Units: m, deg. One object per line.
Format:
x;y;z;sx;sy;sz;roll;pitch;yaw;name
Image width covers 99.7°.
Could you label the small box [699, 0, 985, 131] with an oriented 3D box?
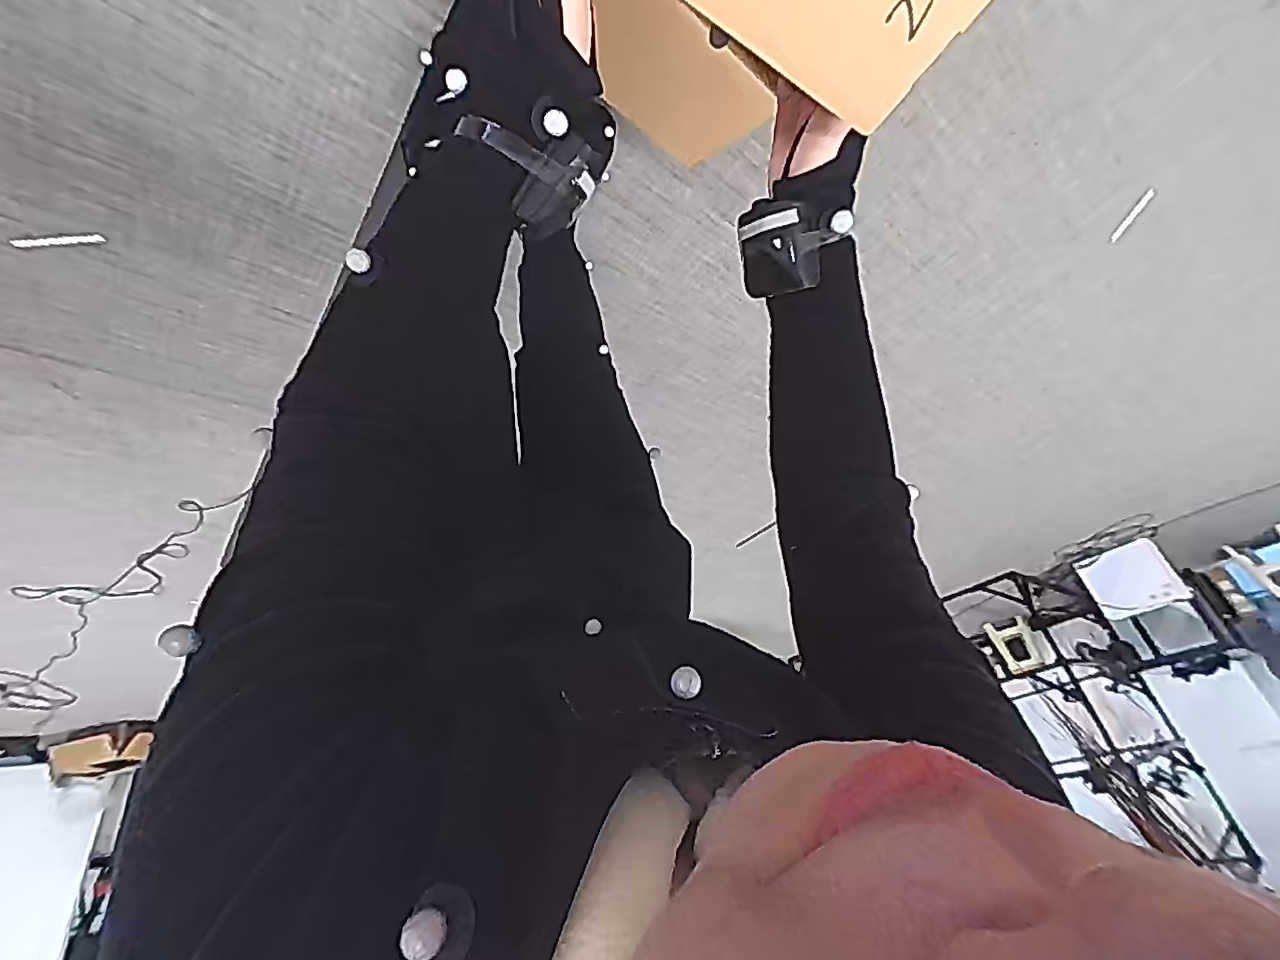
0.091;-0.326;0.259;0.179;0.176;0.168;7;147;-34;small box
